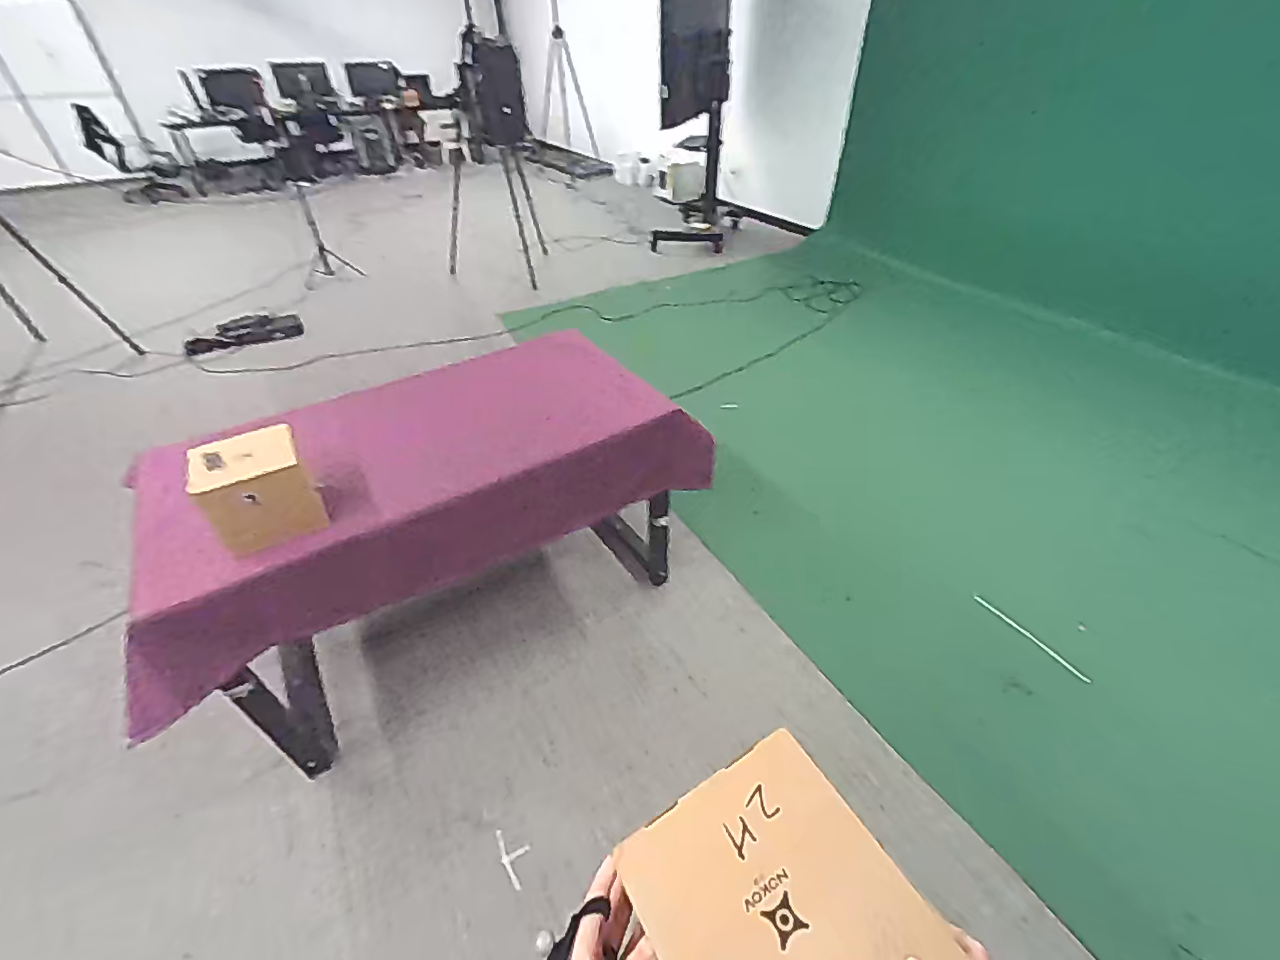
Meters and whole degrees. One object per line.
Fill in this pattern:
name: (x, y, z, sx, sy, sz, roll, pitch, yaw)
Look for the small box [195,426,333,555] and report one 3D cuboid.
small box: (-0.757, 0.022, 1.096, 0.179, 0.176, 0.168, -22, 44, -24)
